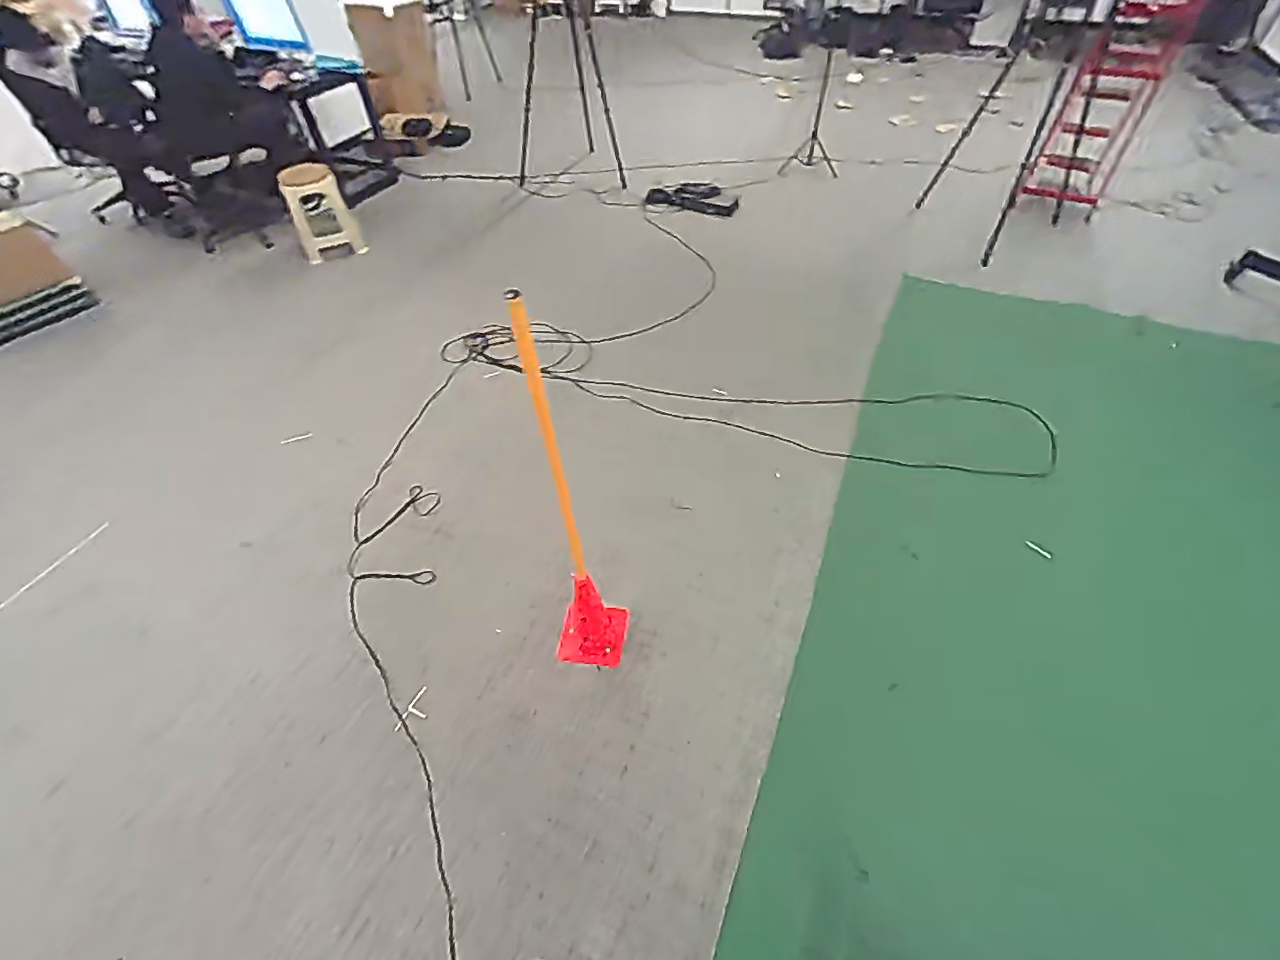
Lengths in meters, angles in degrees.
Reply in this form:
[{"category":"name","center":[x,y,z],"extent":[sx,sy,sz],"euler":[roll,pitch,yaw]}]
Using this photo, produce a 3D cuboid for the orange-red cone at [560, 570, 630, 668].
[{"category":"orange-red cone","center":[-0.144,0.372,1.583],"extent":[0.198,0.360,0.199],"euler":[6,48,7]}]
